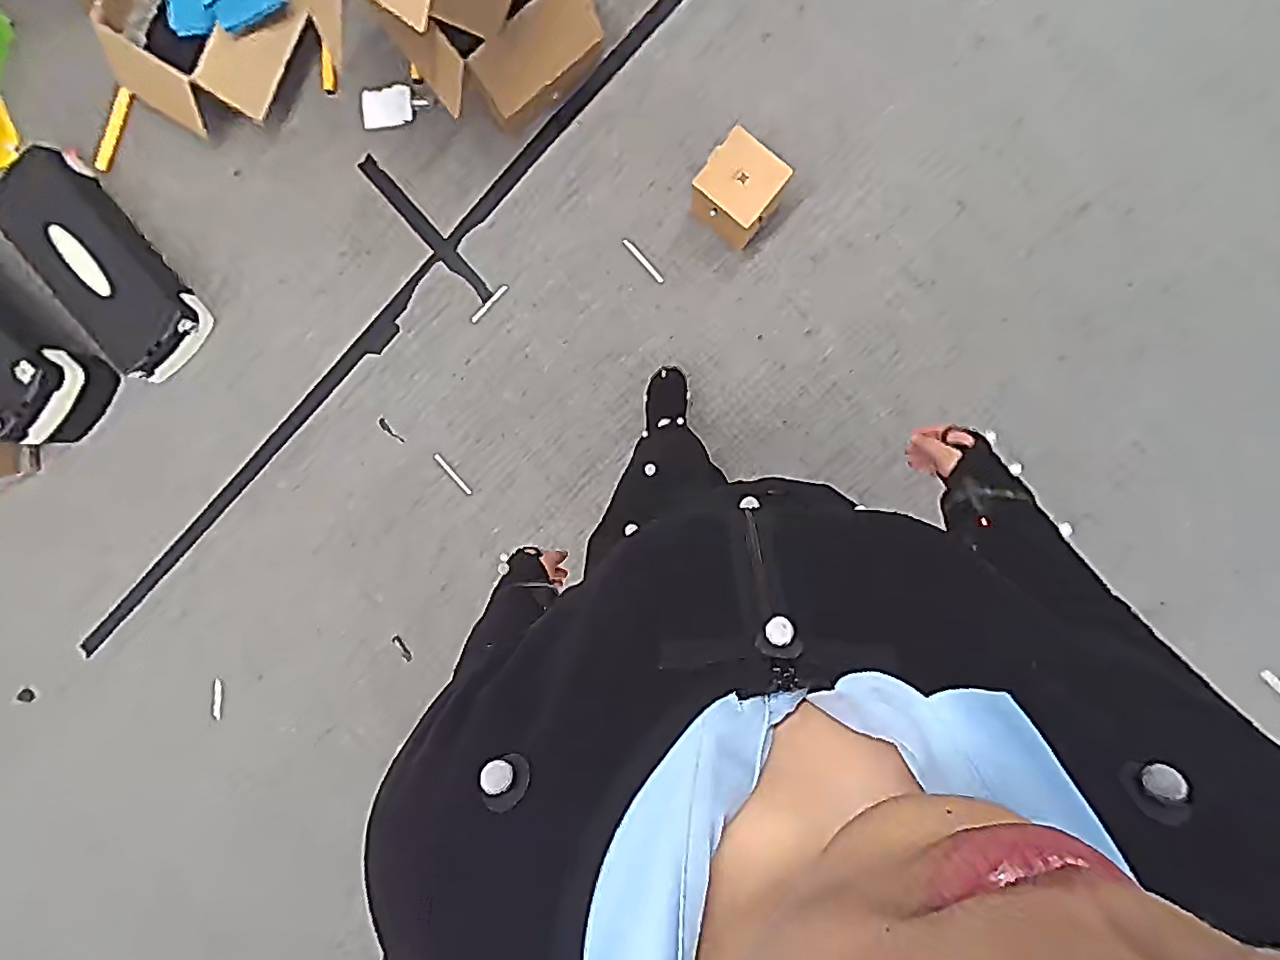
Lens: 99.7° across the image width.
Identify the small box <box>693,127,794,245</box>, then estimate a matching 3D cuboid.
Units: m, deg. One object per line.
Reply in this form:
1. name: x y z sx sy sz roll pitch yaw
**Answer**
1. small box: 0.249 -0.709 1.334 0.179 0.176 0.168 40 98 2
